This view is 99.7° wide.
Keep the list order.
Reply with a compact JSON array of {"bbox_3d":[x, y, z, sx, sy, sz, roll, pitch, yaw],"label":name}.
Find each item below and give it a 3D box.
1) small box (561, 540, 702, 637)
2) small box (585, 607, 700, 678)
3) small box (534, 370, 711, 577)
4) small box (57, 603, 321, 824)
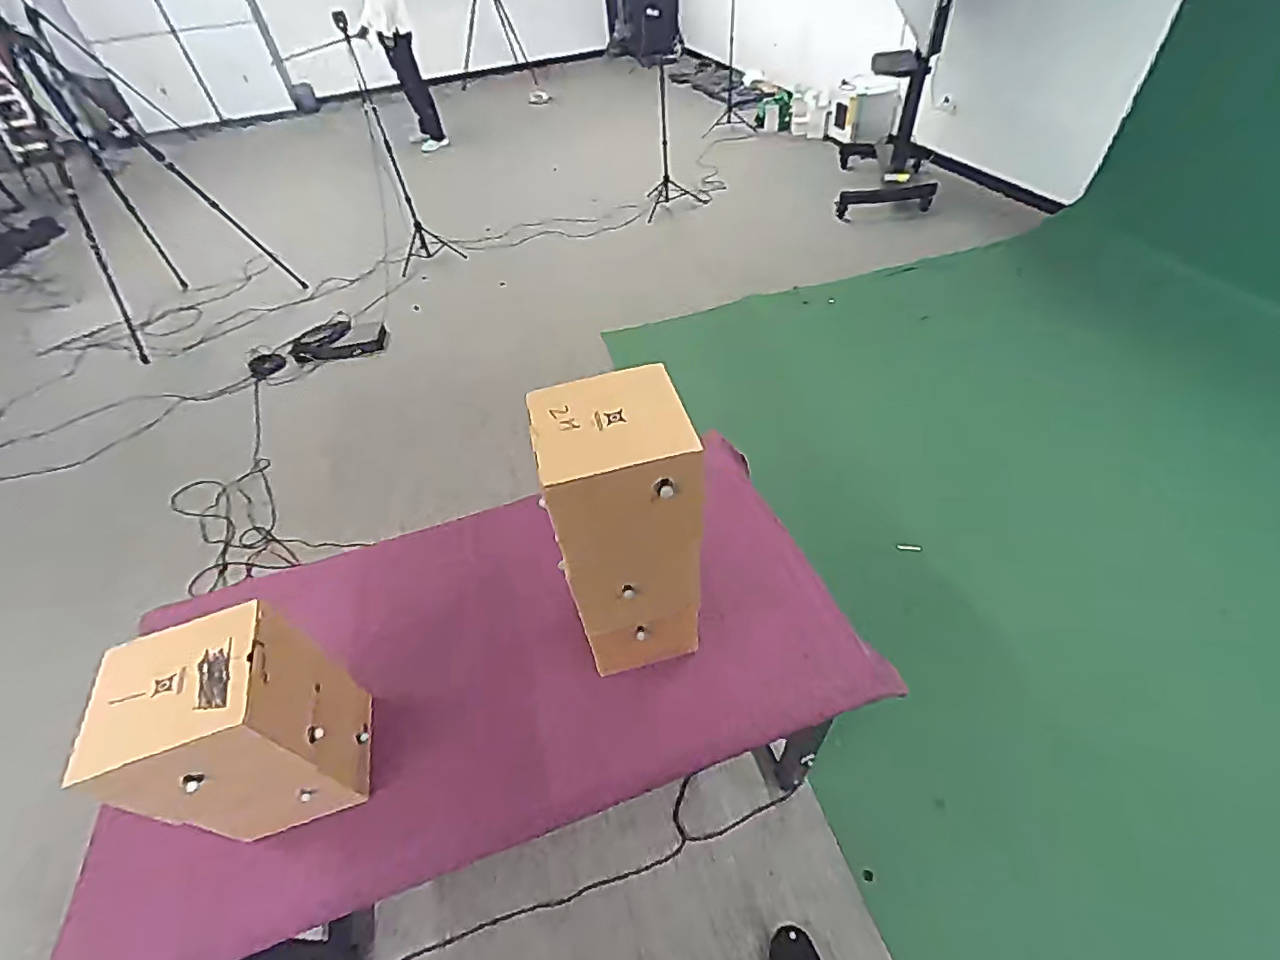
[{"bbox_3d":[-0.015,0.106,0.786,0.179,0.176,0.168,-13,48,-5],"label":"small box"},{"bbox_3d":[-0.006,0.209,0.913,0.179,0.176,0.168,-13,48,-6],"label":"small box"},{"bbox_3d":[-0.021,-0.006,0.664,0.179,0.176,0.168,-13,47,-5],"label":"small box"},{"bbox_3d":[-0.518,0.285,0.659,0.179,0.176,0.168,-18,48,-11],"label":"small box"}]
